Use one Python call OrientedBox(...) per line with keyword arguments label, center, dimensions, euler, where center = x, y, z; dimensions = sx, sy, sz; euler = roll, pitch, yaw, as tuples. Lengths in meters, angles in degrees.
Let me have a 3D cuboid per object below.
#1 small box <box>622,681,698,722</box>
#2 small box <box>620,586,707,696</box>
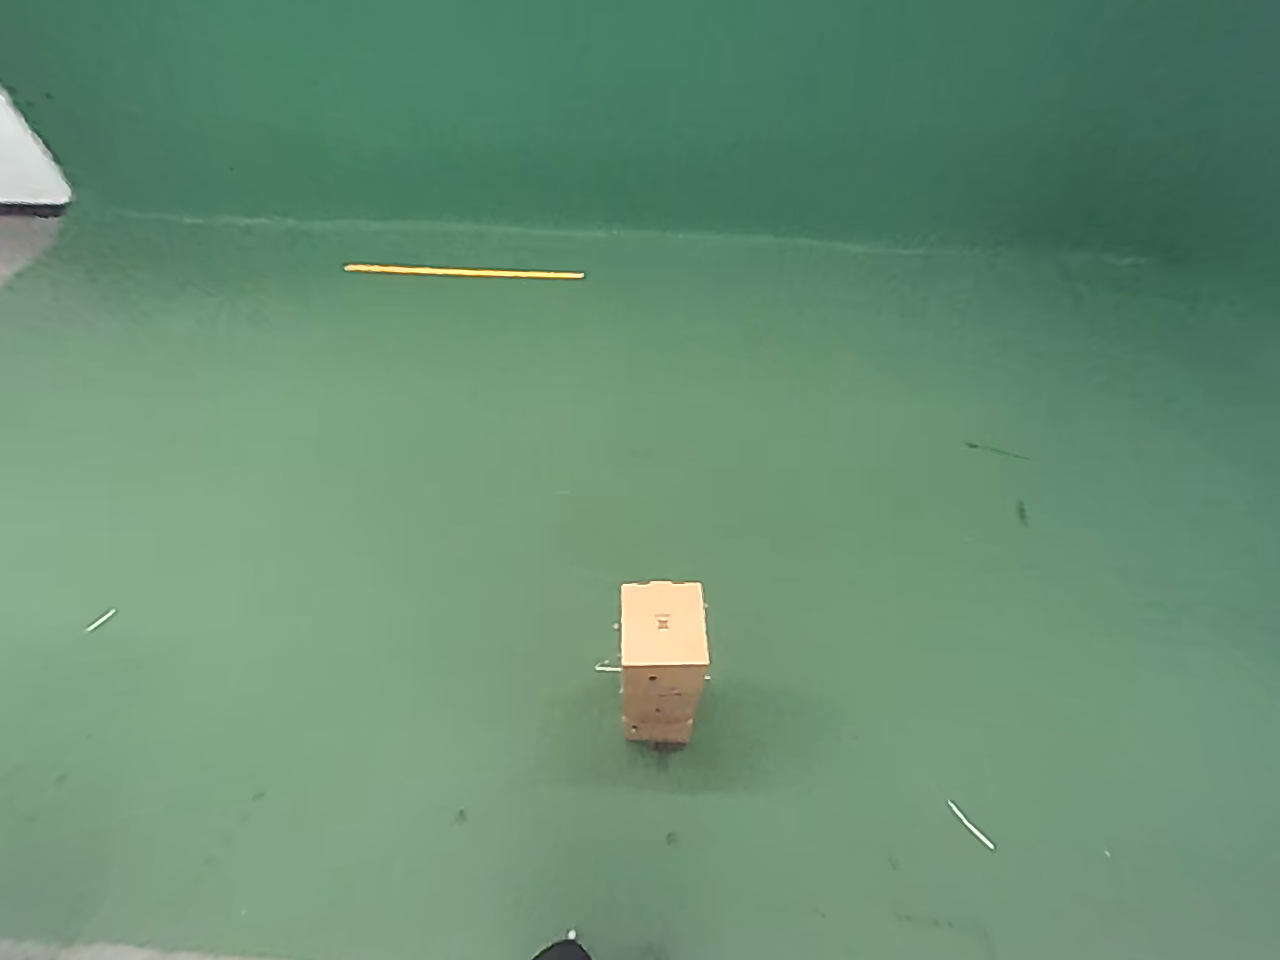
OrientedBox(label="small box", center=(0.045, 0.441, 1.249), dimensions=(0.168, 0.176, 0.179), euler=(1, 50, 1))
OrientedBox(label="small box", center=(0.046, 0.339, 1.123), dimensions=(0.168, 0.176, 0.179), euler=(-1, 49, 0))
